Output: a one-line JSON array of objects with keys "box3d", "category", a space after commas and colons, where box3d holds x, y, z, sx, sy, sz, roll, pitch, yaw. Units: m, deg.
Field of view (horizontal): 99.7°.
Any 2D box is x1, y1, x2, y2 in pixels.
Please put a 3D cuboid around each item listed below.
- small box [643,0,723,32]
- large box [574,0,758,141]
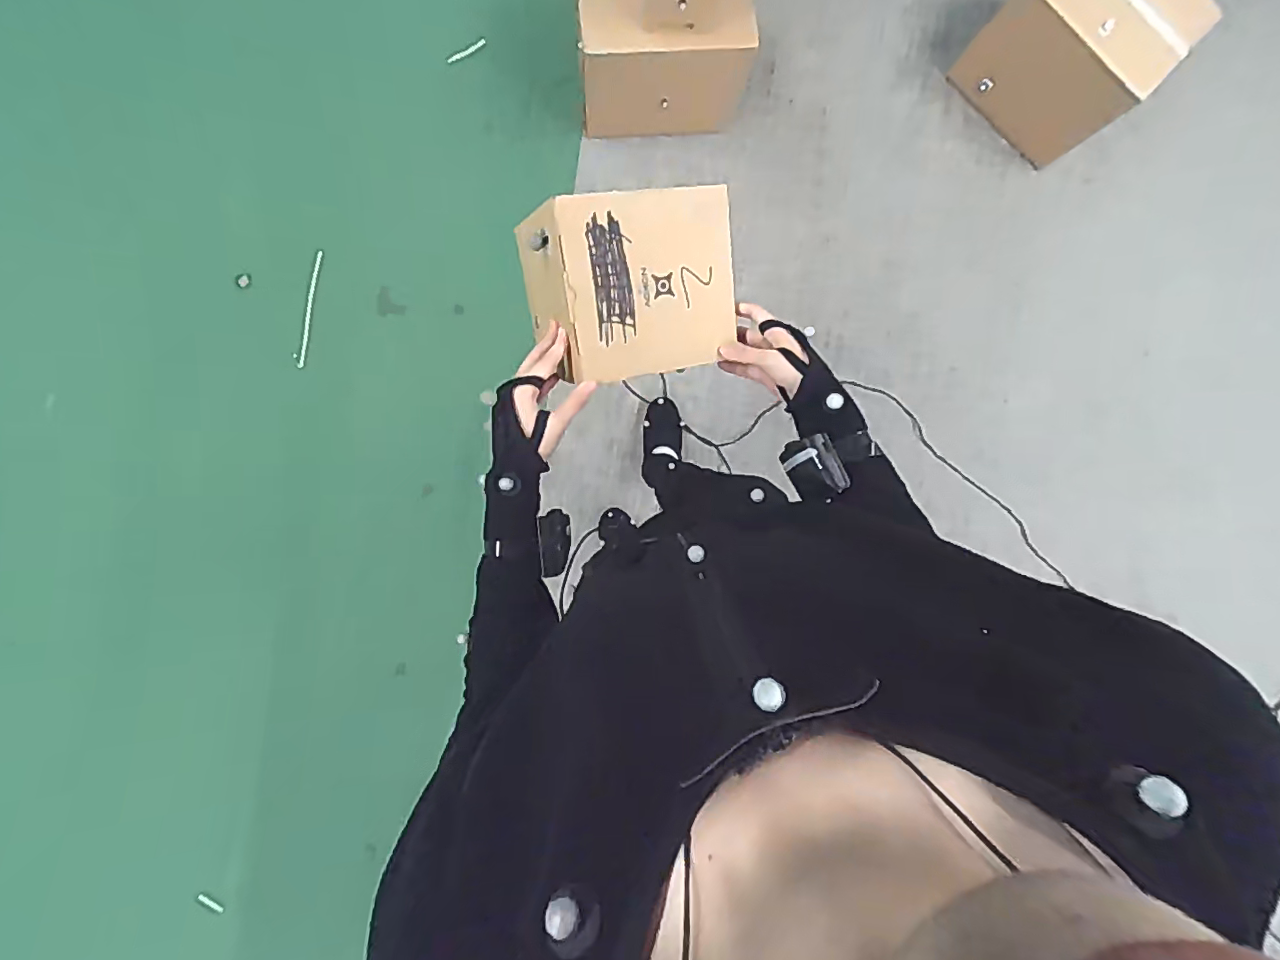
[{"box3d": [0.096, -1.075, 1.113, 0.168, 0.176, 0.179, 0, 91, -5], "category": "small box"}, {"box3d": [0.048, -1.105, 1.355, 0.408, 0.320, 0.320, -6, 90, -3], "category": "large box"}]
